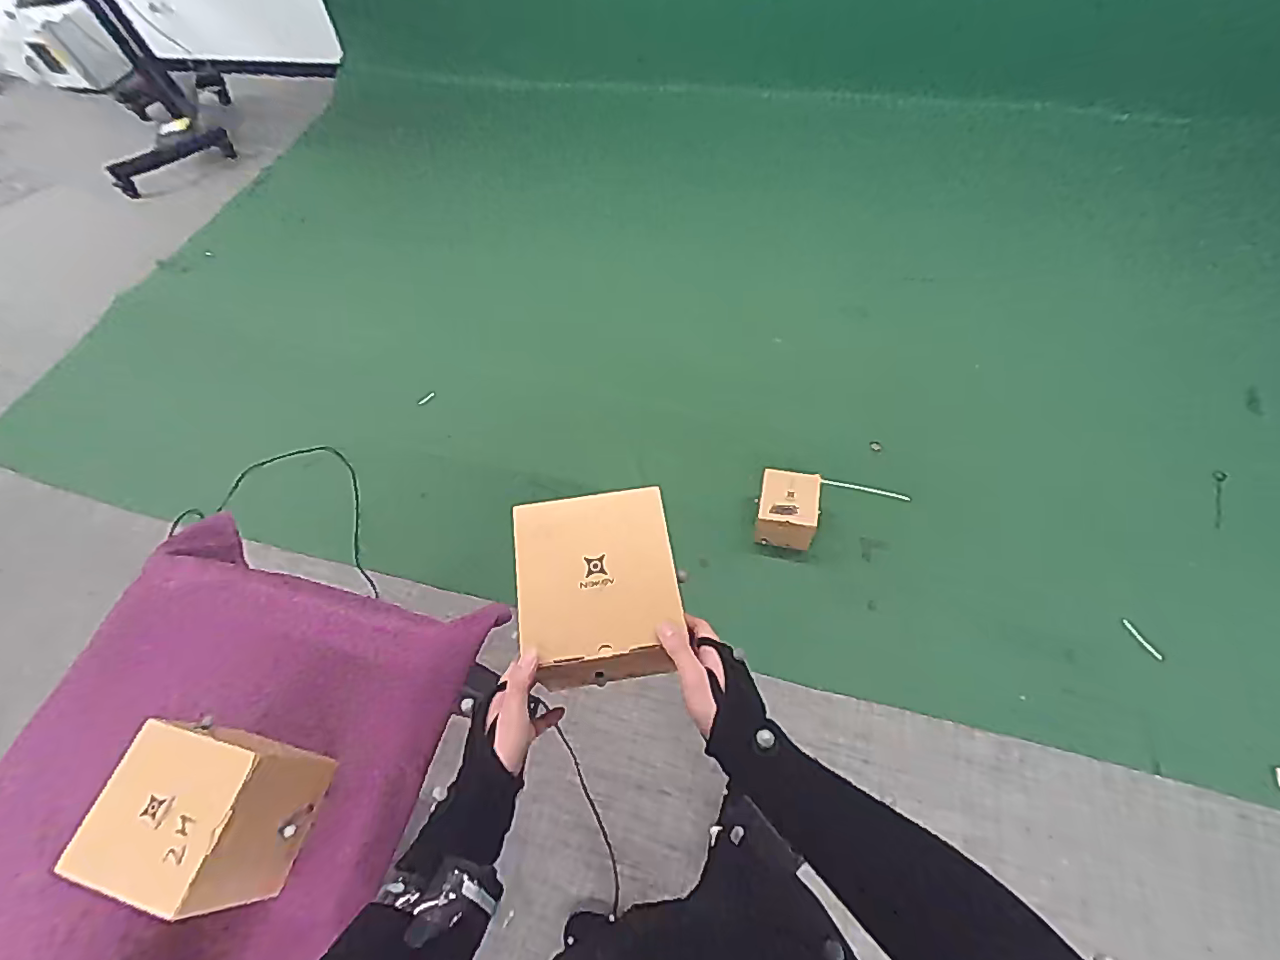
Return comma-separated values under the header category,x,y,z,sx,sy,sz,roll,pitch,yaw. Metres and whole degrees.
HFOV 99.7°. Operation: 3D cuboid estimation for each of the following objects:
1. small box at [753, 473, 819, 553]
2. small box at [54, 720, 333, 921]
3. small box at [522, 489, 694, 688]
category,x,y,z,sx,sy,sz,roll,pitch,yaw
small box,0.440,0.105,1.646,0.168,0.176,0.179,9,60,11
small box,-0.550,0.426,0.695,0.179,0.176,0.168,10,62,12
small box,-0.041,0.132,0.633,0.168,0.176,0.179,-7,63,-5
